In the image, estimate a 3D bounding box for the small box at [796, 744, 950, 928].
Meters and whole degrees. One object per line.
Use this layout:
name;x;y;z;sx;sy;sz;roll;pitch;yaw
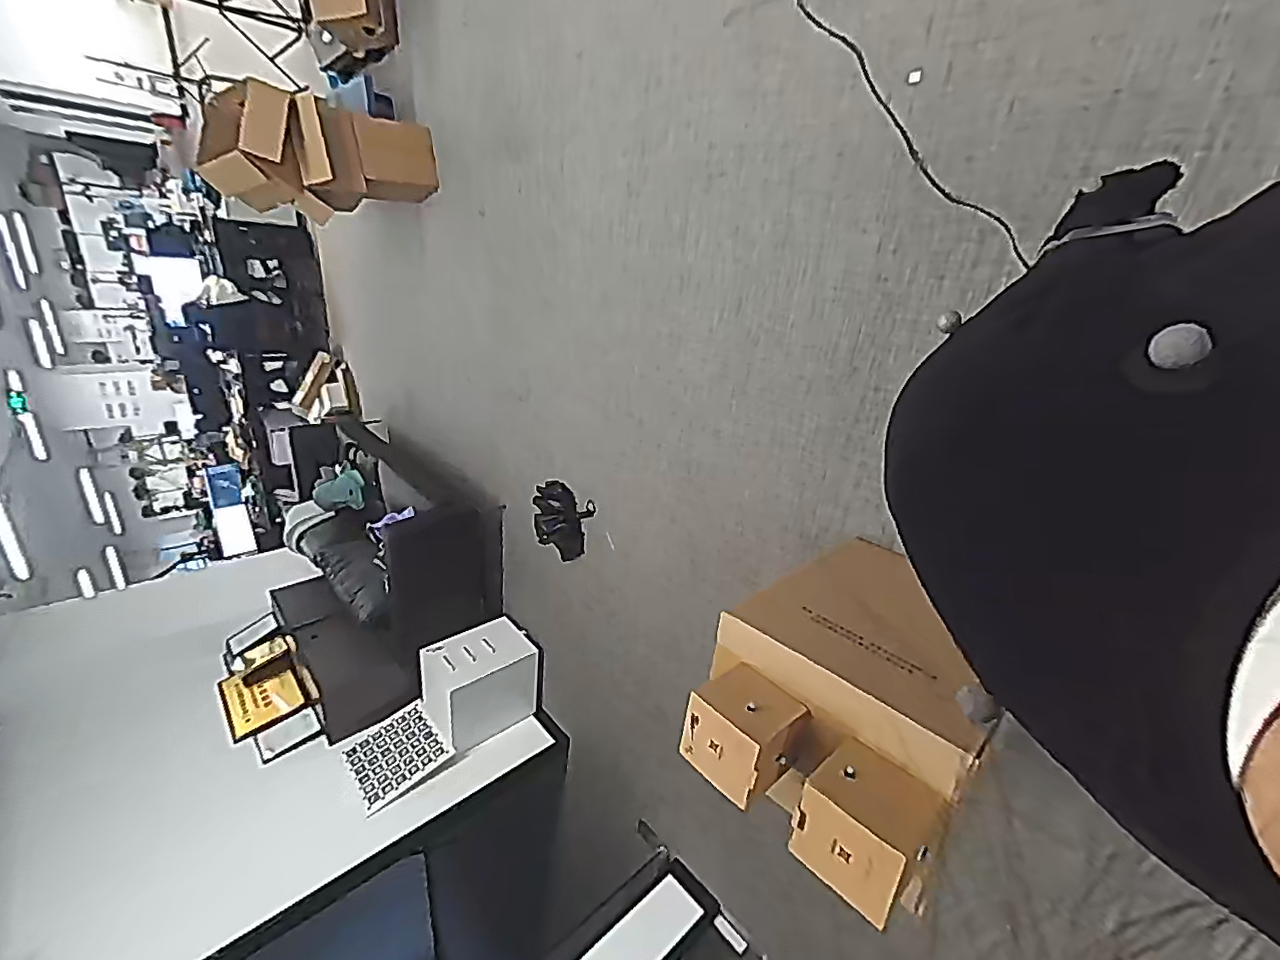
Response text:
small box;0.401;0.595;0.937;0.179;0.176;0.168;22;115;41

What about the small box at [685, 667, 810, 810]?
small box;0.222;0.517;1.111;0.179;0.176;0.168;25;115;41
